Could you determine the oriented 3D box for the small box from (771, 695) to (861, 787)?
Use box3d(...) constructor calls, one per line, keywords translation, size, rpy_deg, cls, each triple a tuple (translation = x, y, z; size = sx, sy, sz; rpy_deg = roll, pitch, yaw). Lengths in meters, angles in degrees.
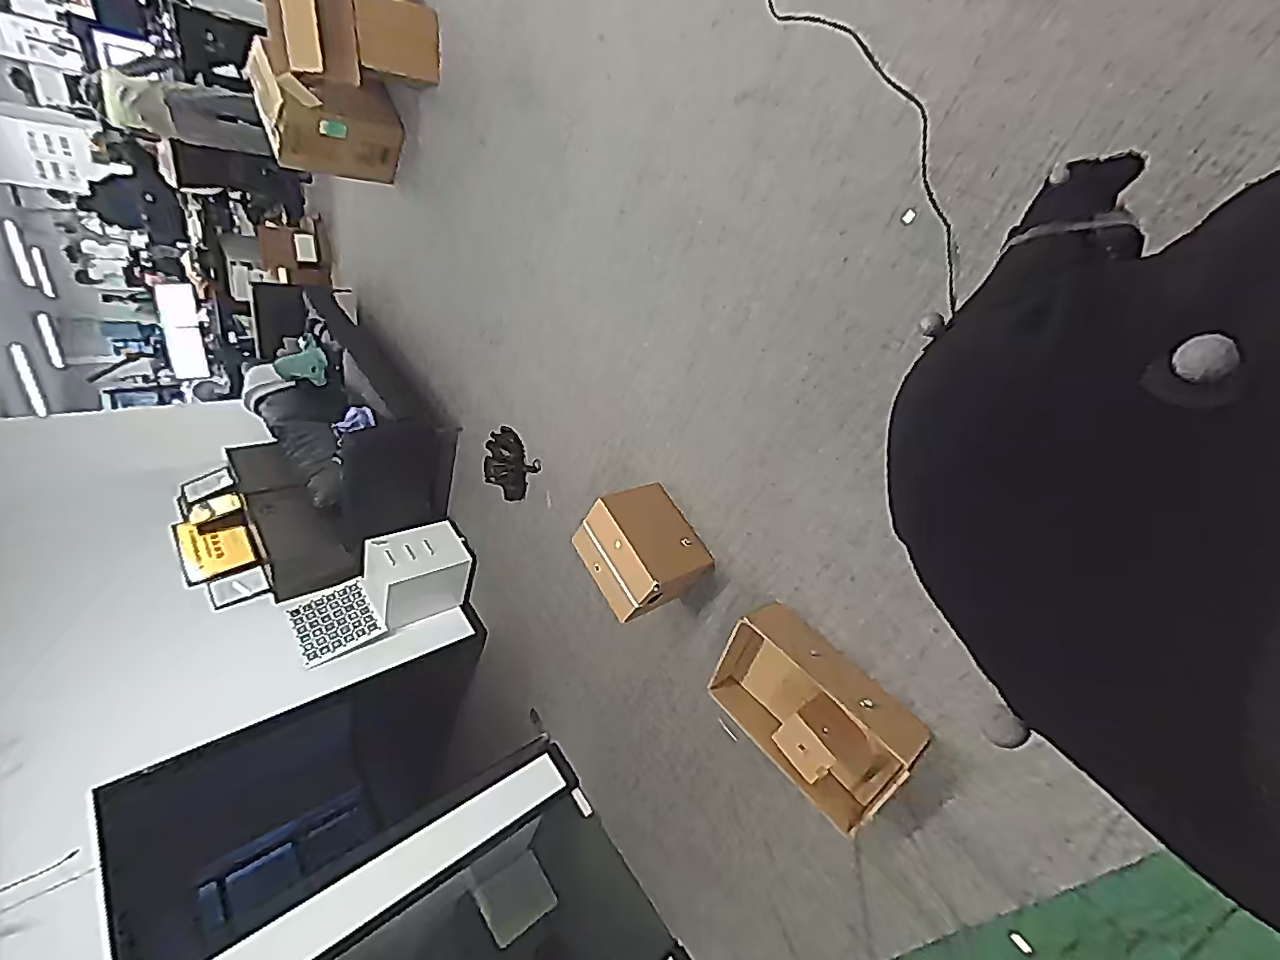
box3d(translation=(0.559, 0.819, 1.710), size=(0.179, 0.176, 0.168), rpy_deg=(48, 132, 32), cls="small box")
